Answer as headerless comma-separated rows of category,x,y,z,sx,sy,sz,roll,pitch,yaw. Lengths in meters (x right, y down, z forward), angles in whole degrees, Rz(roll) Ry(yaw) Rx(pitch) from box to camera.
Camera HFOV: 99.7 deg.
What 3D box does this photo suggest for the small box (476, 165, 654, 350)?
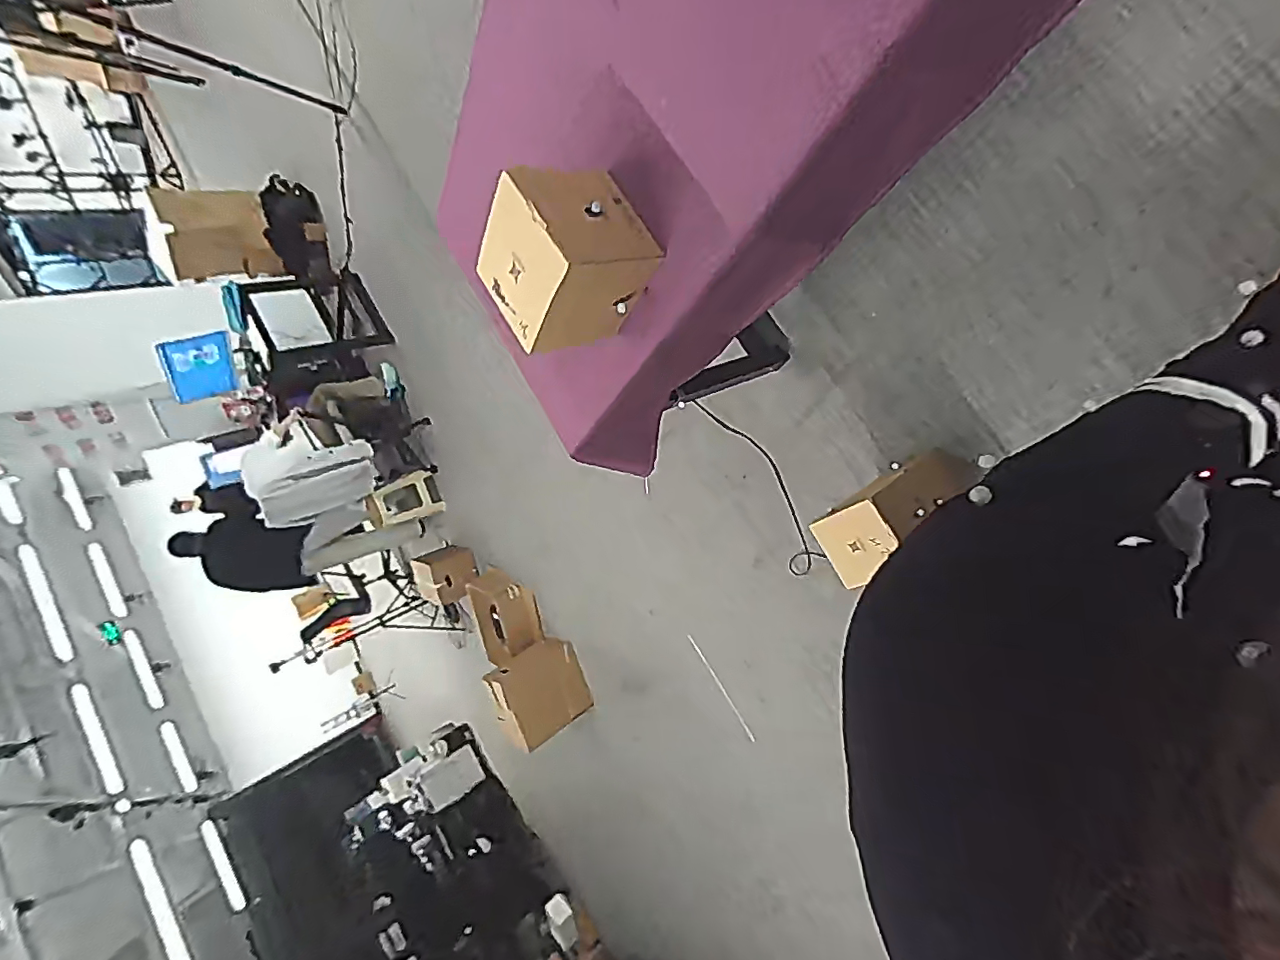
small box,-0.104,-0.317,0.777,0.168,0.176,0.179,58,141,10
